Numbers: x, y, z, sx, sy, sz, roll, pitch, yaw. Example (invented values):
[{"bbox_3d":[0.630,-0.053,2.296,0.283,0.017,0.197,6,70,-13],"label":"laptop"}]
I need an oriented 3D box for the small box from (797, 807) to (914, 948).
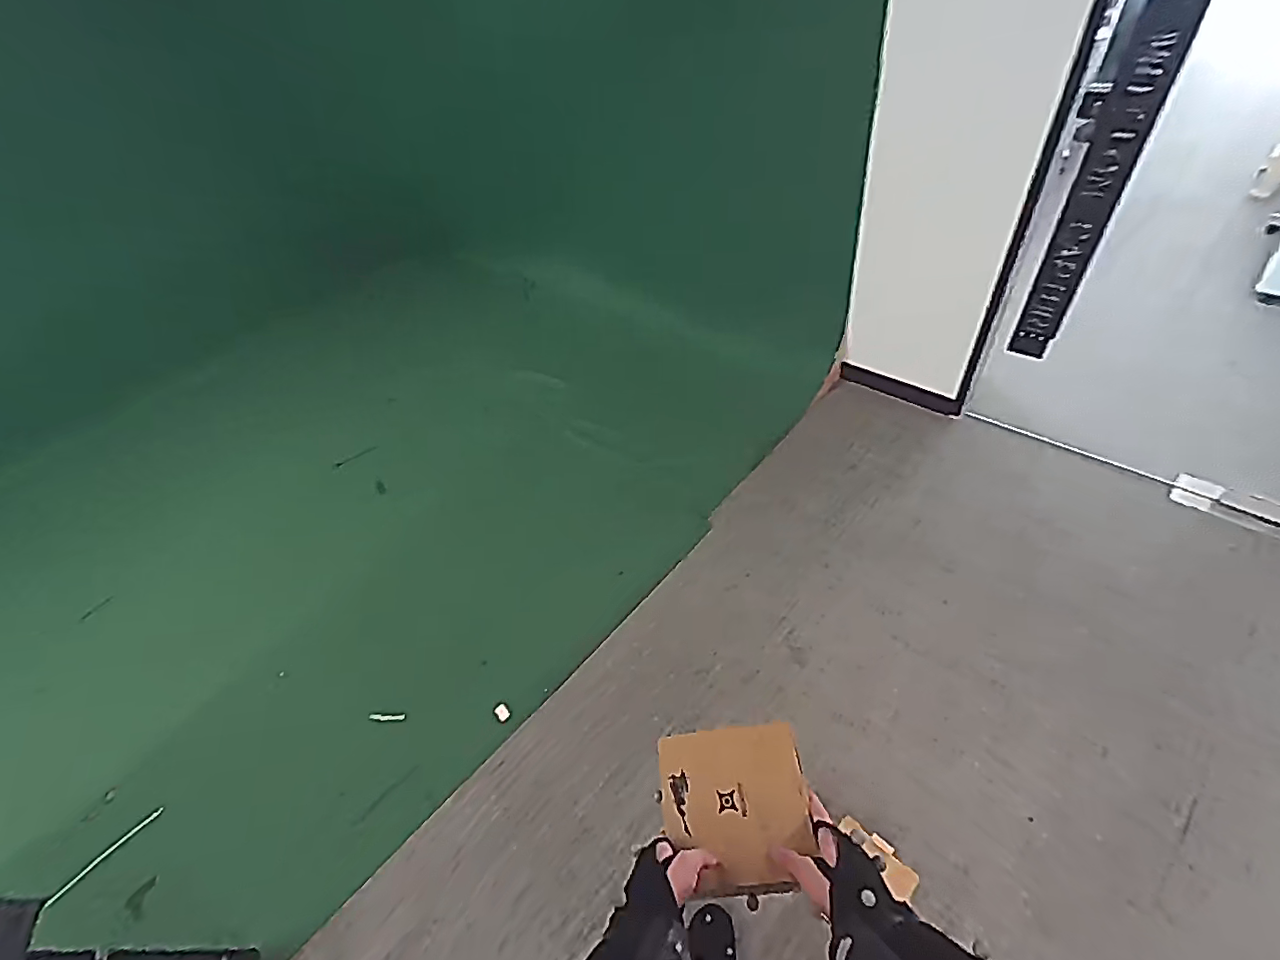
[{"bbox_3d":[0.447,0.847,1.155,0.179,0.176,0.168,-40,52,-20],"label":"small box"}]

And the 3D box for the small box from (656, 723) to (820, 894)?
[{"bbox_3d":[0.121,0.435,0.712,0.179,0.176,0.168,-9,50,5],"label":"small box"}]
